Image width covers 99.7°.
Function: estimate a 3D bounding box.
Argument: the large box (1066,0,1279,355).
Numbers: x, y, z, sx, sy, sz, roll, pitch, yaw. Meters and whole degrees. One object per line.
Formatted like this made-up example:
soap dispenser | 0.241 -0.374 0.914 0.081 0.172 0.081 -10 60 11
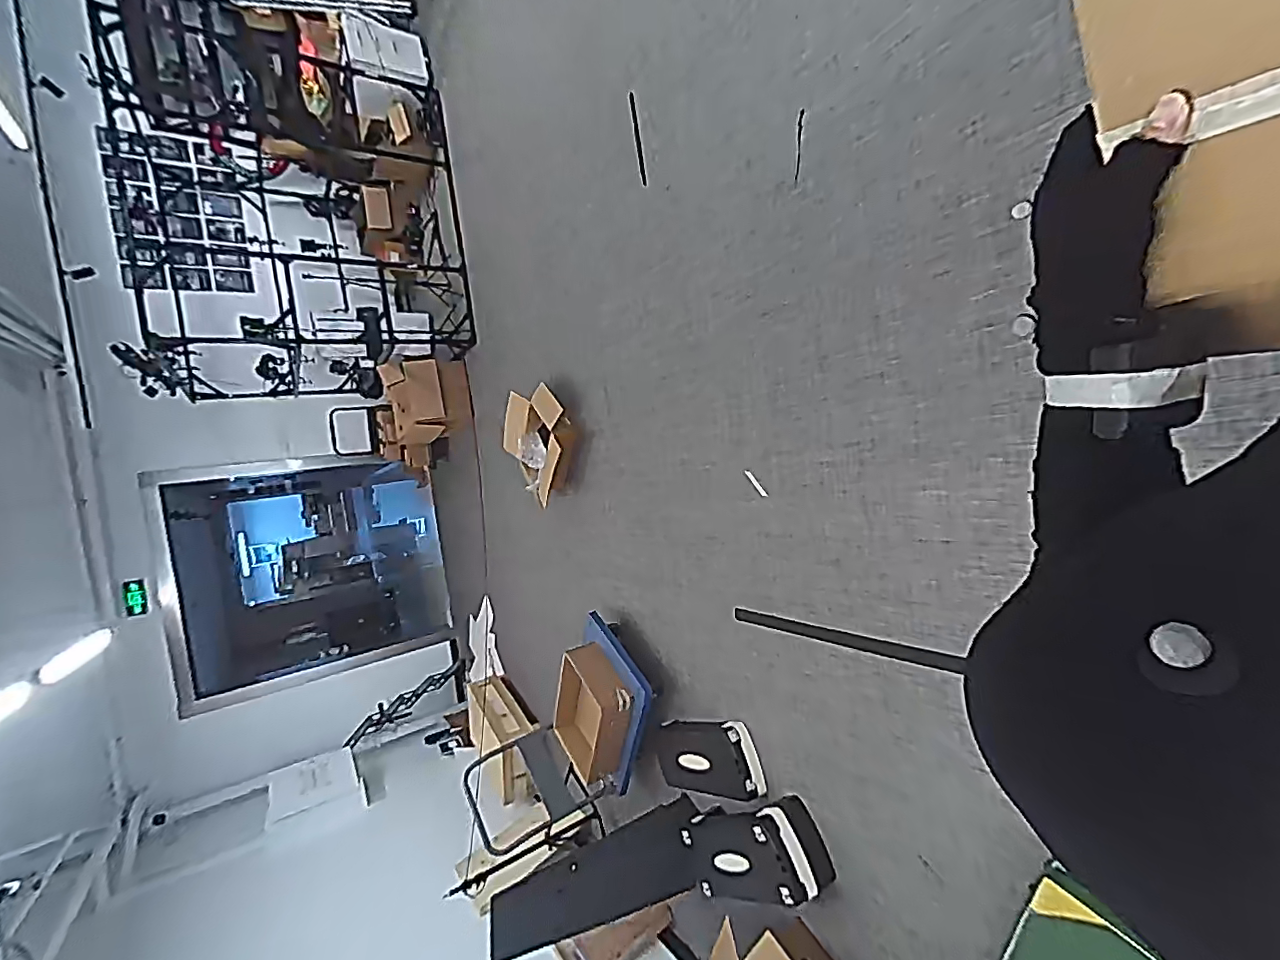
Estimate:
large box | 0.483 -0.296 0.221 0.408 0.320 0.320 5 138 56
